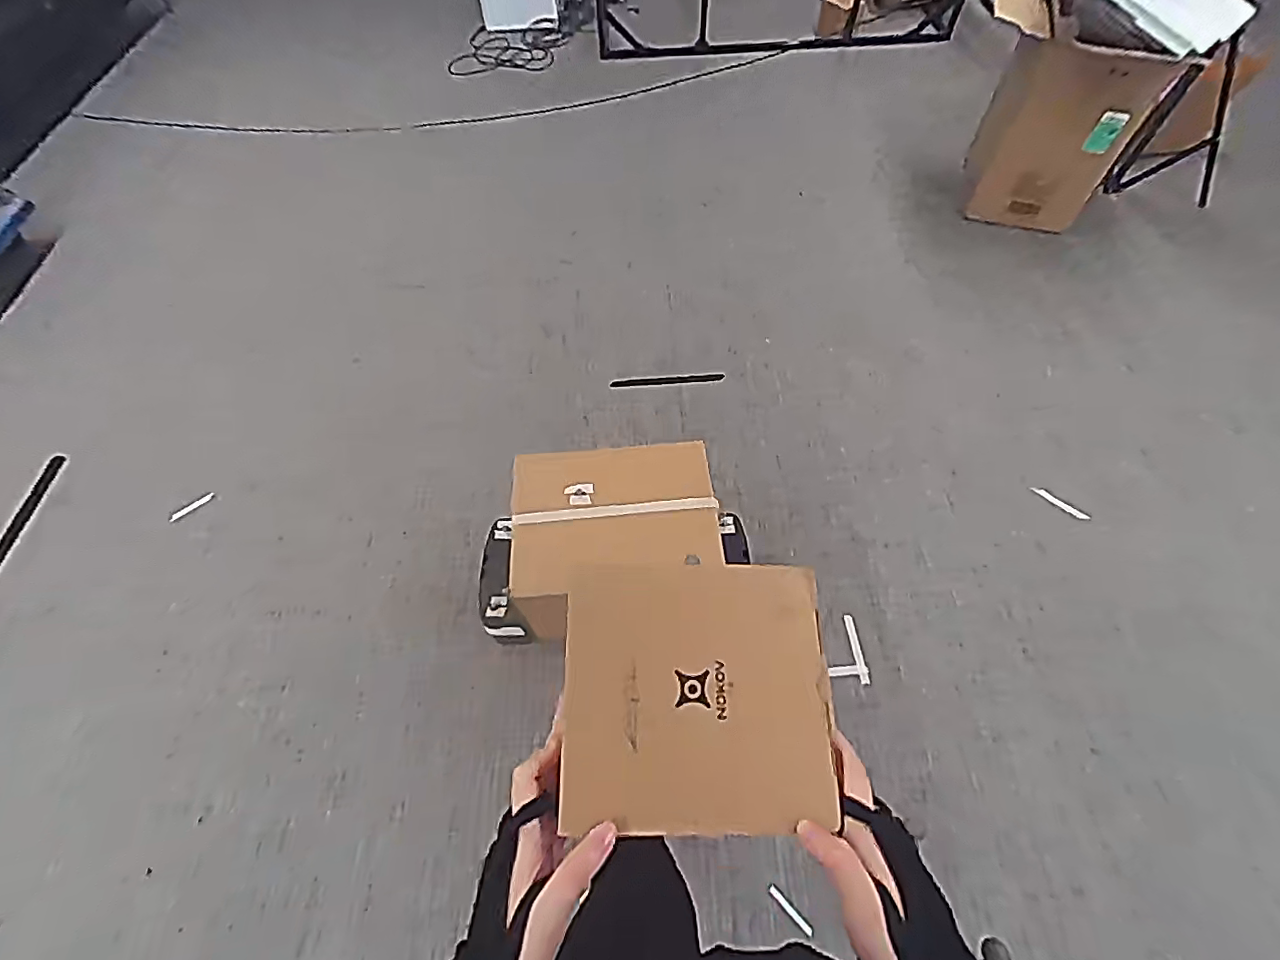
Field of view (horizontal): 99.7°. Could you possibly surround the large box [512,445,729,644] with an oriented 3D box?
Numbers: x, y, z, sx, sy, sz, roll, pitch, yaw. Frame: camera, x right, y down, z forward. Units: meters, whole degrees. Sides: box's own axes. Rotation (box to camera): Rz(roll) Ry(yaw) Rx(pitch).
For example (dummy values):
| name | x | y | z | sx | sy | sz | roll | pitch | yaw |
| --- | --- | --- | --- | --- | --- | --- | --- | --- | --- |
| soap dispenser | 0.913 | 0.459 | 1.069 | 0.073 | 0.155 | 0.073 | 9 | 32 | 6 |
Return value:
| name | x | y | z | sx | sy | sz | roll | pitch | yaw |
| --- | --- | --- | --- | --- | --- | --- | --- | --- | --- |
| large box | -0.040 | 0.152 | 1.181 | 0.408 | 0.320 | 0.320 | -6 | 58 | 0 |
